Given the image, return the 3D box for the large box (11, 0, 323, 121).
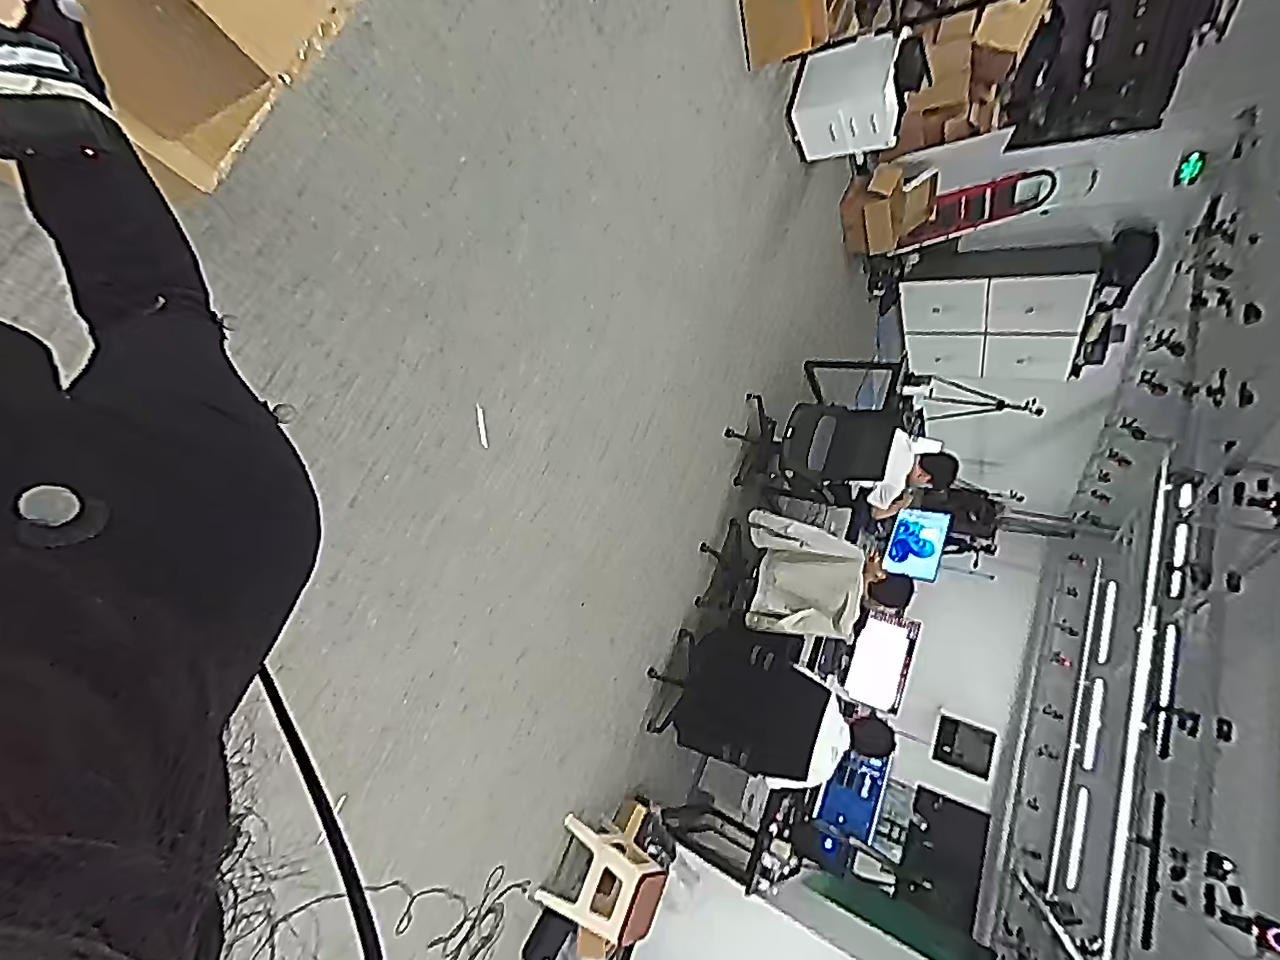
[{"bbox_3d":[-0.520,-0.643,0.490,0.408,0.320,0.320,43,65,-53],"label":"large box"}]
